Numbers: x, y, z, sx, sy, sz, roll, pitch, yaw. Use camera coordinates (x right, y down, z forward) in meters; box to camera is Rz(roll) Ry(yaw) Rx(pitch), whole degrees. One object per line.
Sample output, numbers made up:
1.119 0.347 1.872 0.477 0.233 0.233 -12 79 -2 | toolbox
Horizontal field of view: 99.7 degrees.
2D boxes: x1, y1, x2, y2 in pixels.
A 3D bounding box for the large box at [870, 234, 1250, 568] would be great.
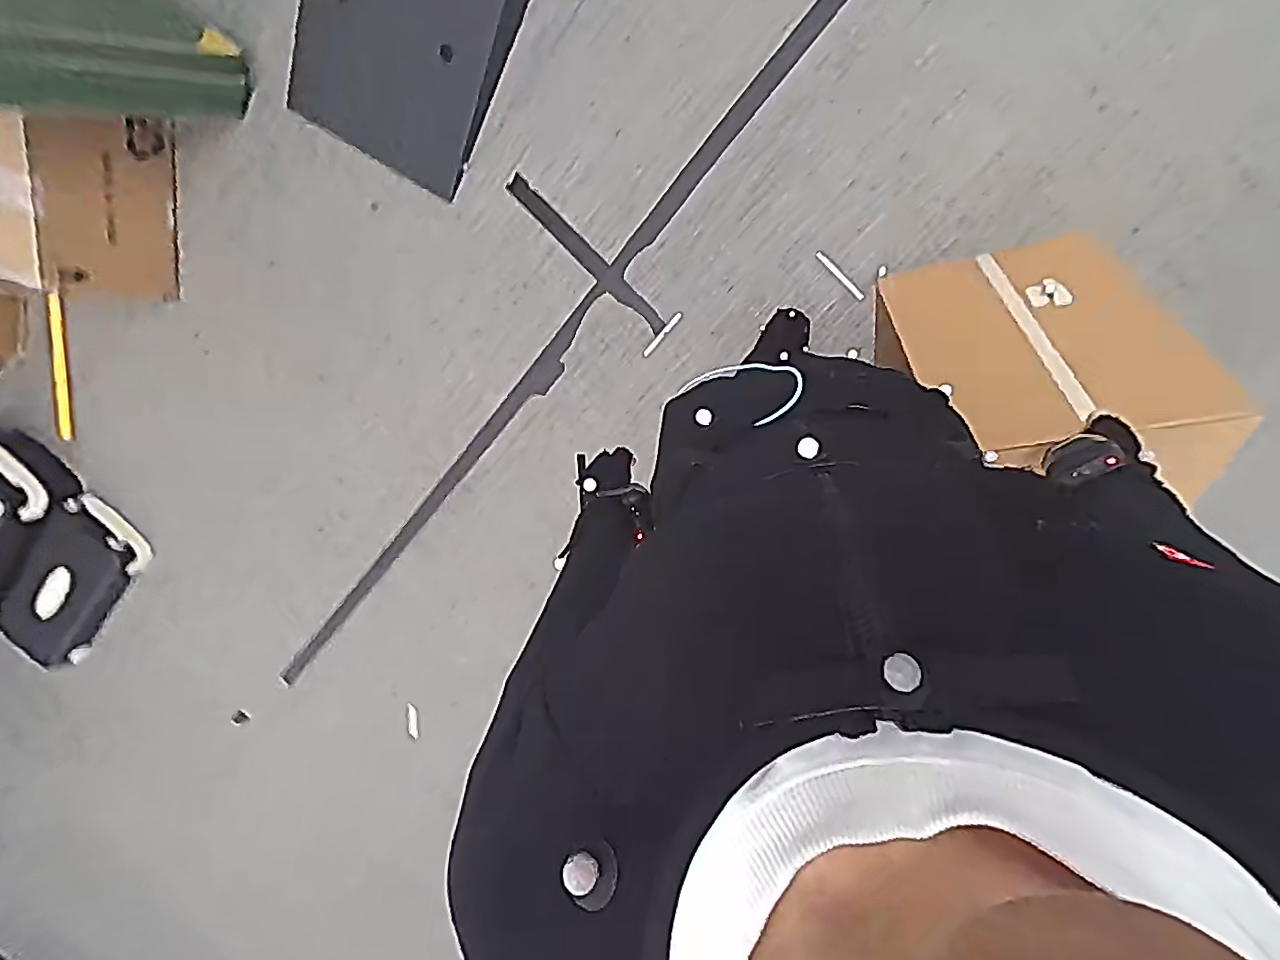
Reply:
0.578 -0.118 0.864 0.320 0.408 0.320 -8 140 13 | large box
